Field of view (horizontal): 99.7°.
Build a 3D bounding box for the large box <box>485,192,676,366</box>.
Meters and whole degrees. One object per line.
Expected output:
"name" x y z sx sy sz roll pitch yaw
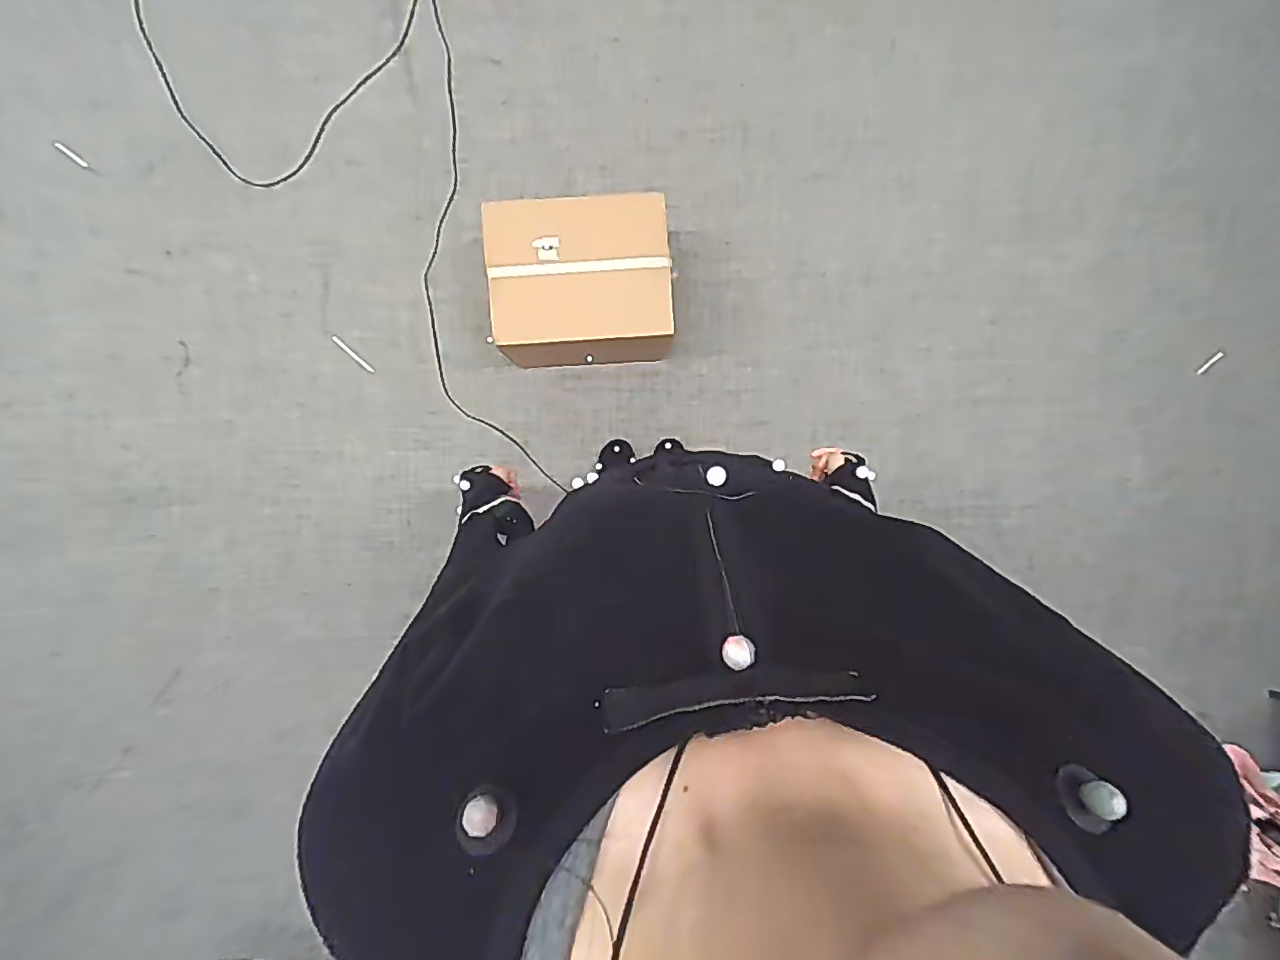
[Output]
"large box" -0.131 -0.471 1.340 0.408 0.320 0.320 -4 92 -1
